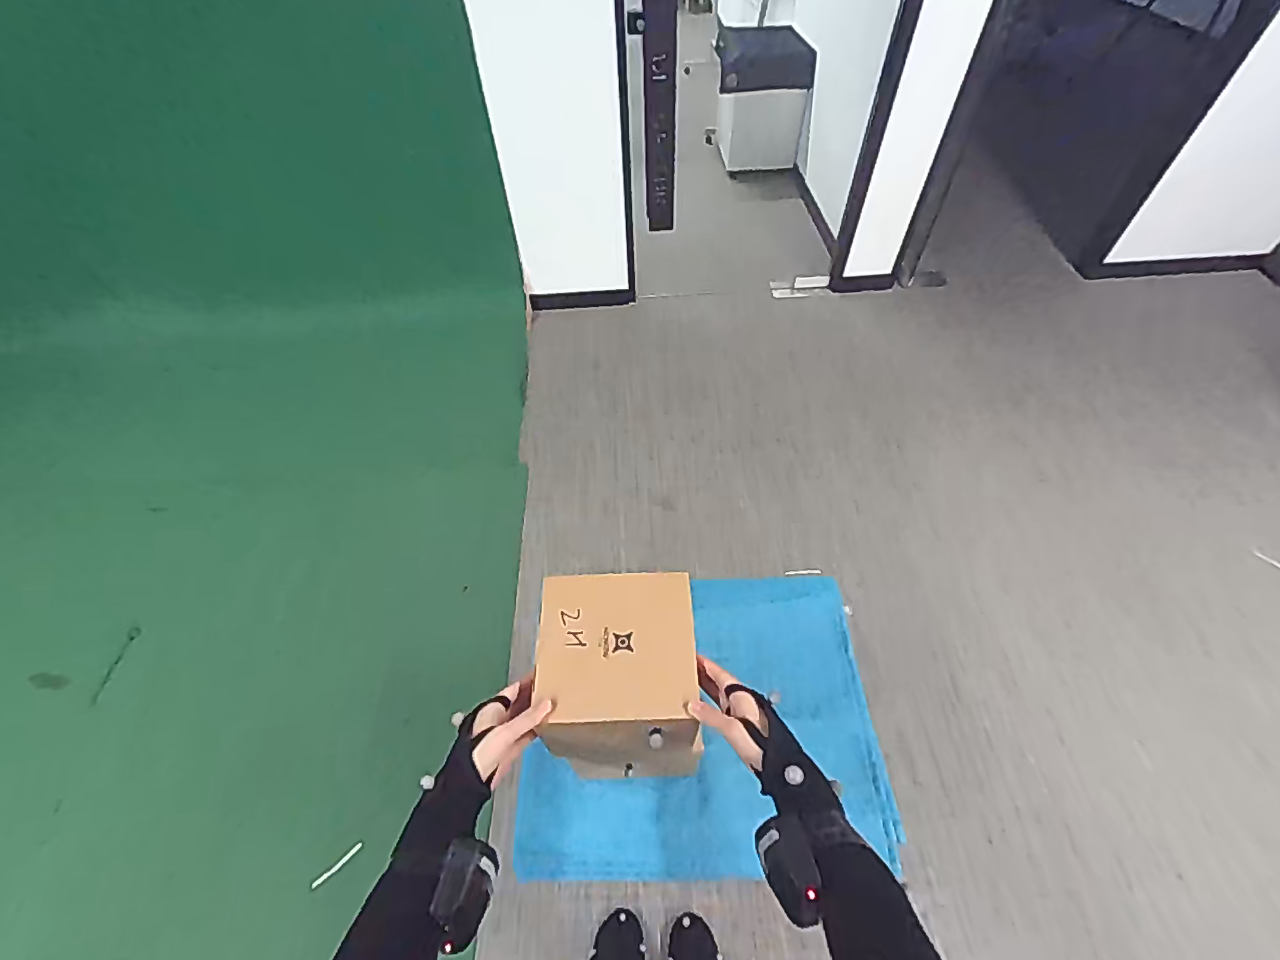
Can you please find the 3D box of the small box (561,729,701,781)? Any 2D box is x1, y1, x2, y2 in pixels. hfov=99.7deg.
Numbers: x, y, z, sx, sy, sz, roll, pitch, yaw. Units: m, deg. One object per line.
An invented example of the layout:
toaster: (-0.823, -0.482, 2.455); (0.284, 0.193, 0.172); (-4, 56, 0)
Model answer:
small box: (-0.012, 0.324, 0.774); (0.179, 0.176, 0.168); (-2, 51, 1)

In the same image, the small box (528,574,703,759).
small box: (-0.025, 0.224, 0.645); (0.179, 0.176, 0.168); (-2, 51, 0)
